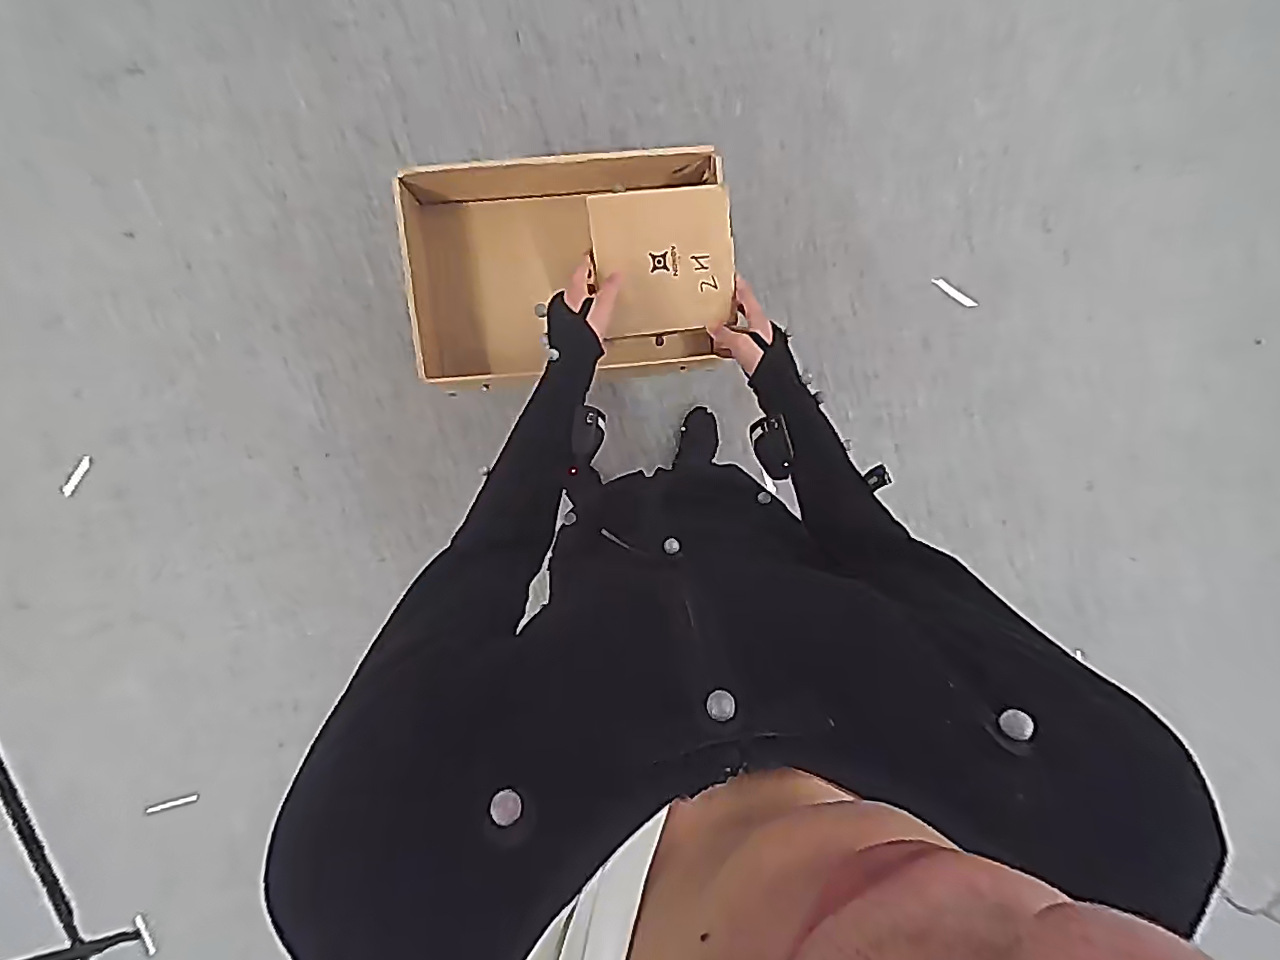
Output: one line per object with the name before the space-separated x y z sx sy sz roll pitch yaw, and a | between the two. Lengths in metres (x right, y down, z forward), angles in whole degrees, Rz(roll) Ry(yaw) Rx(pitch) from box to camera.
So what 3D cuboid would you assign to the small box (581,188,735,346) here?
small box | 0.016 -0.275 0.729 0.179 0.176 0.168 -8 103 -7
